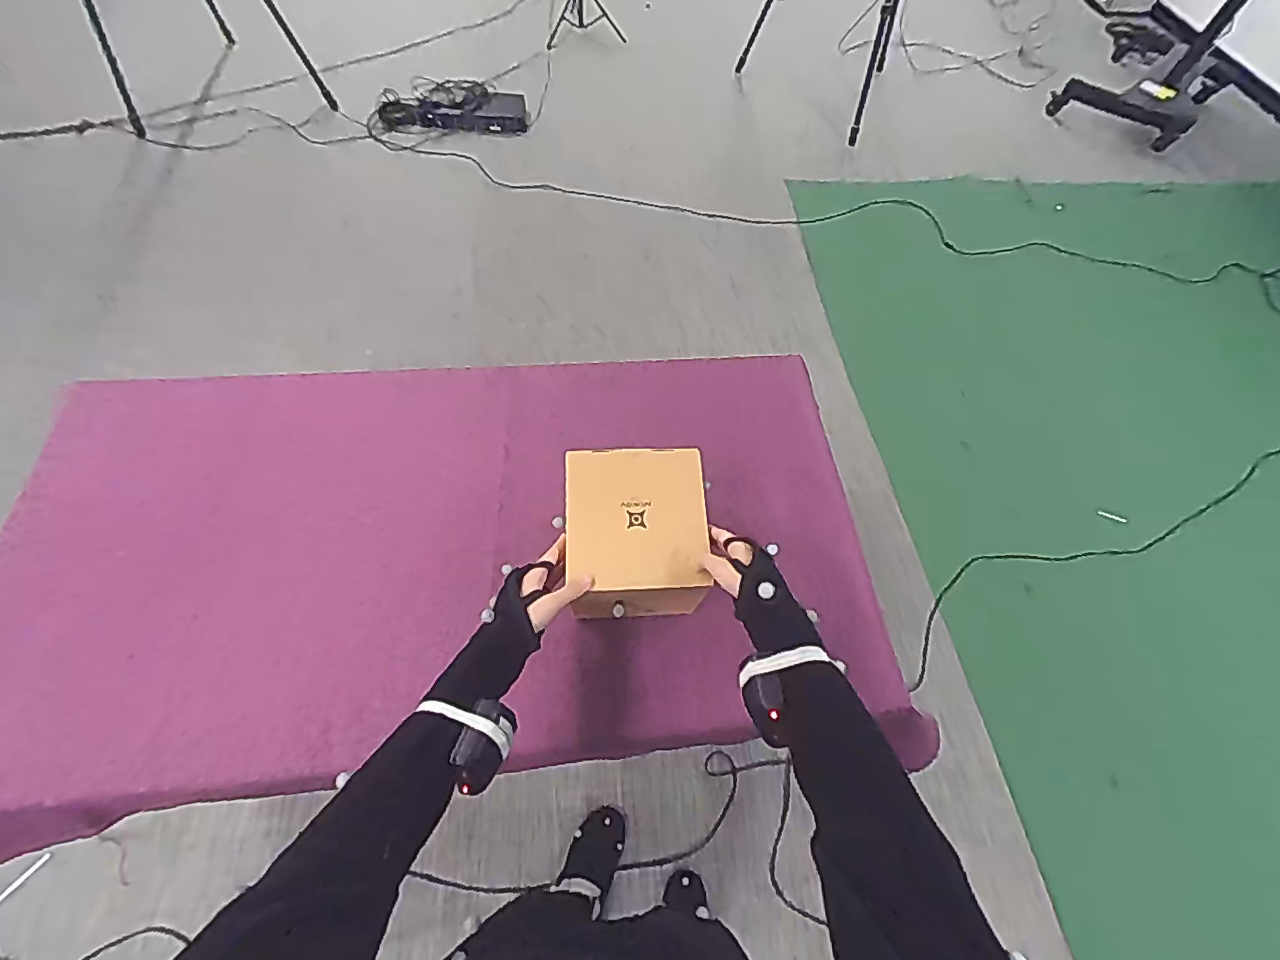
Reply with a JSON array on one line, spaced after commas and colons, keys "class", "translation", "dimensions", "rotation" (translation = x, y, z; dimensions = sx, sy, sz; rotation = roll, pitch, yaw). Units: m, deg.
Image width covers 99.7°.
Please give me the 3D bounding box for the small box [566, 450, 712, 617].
[{"class": "small box", "translation": [-0.007, 0.078, 0.704], "dimensions": [0.168, 0.176, 0.179], "rotation": [-1, 64, -5]}]
